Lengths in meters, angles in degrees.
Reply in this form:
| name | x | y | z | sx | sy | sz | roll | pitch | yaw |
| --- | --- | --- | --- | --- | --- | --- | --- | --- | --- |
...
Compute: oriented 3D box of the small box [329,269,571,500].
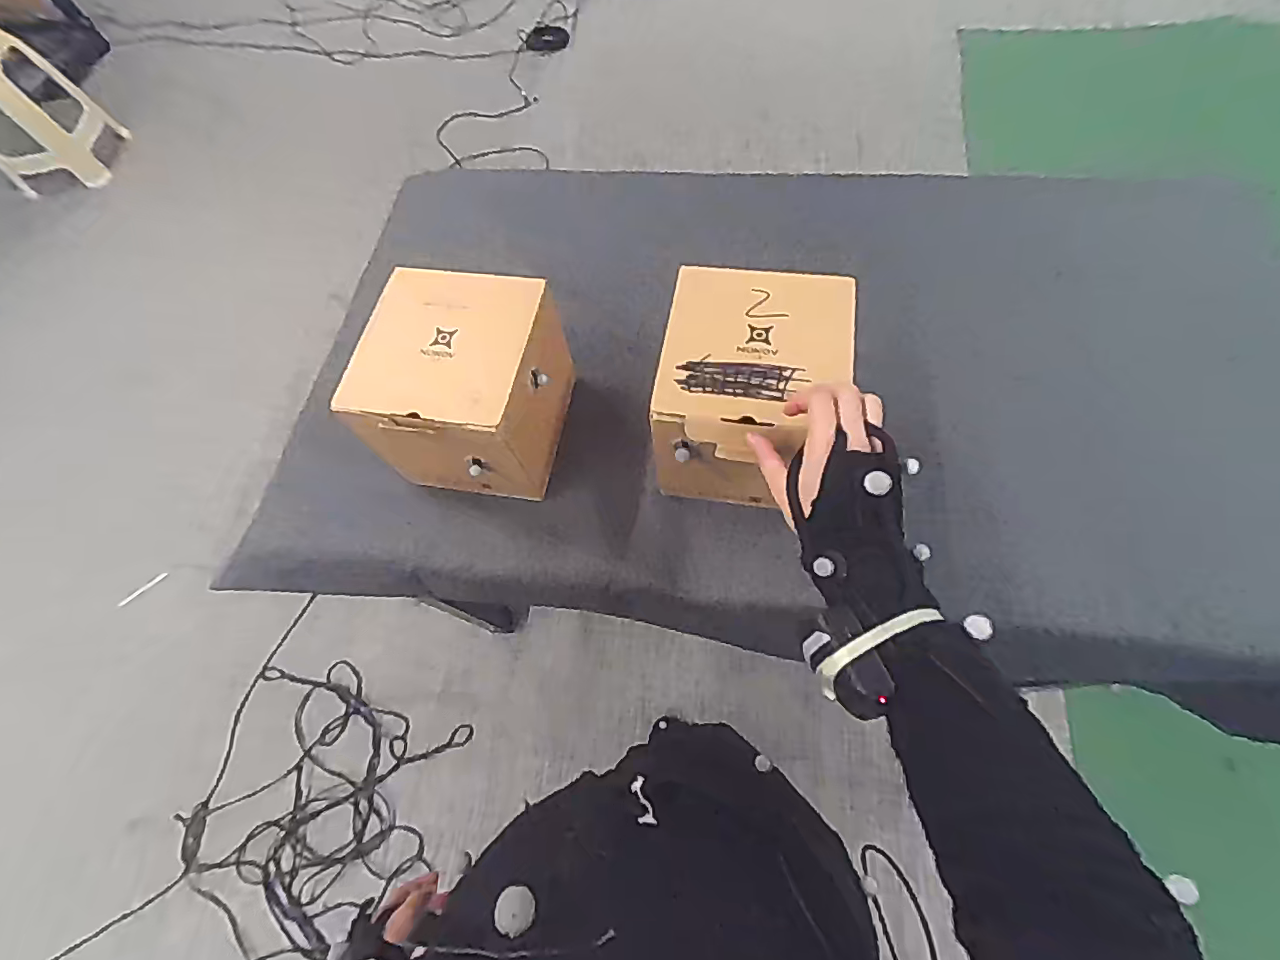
| name | x | y | z | sx | sy | sz | roll | pitch | yaw |
| --- | --- | --- | --- | --- | --- | --- | --- | --- | --- |
| small box | -0.180 | -0.094 | 0.579 | 0.168 | 0.176 | 0.179 | 8 | 65 | 7 |
